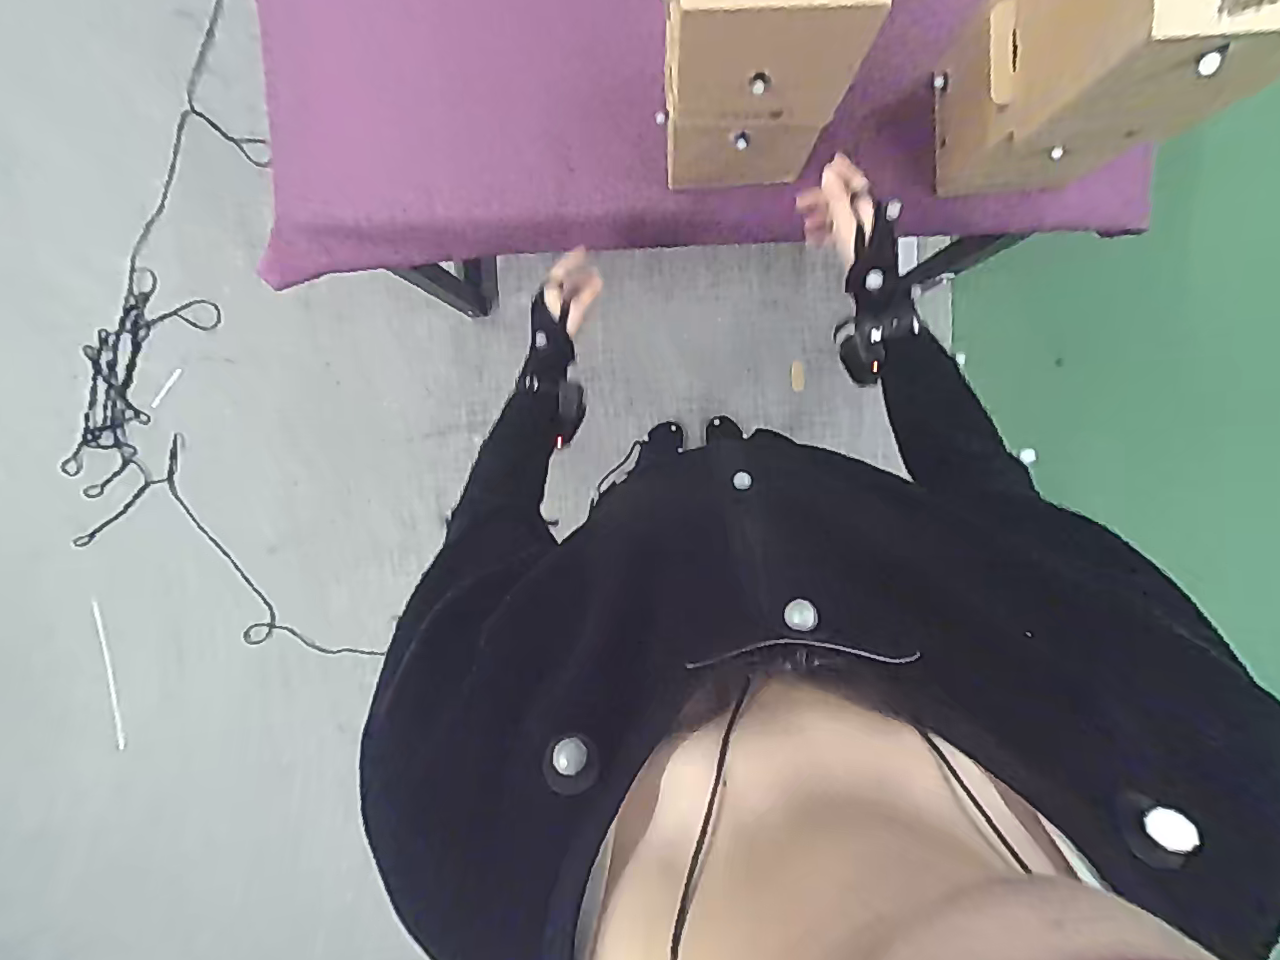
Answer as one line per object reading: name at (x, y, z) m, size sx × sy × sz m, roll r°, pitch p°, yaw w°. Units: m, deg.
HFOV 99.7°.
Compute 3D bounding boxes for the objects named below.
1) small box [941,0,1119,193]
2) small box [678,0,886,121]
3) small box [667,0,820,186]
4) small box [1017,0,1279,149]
small box at (0.482, -0.464, 0.643) m, size 0.179 × 0.176 × 0.168 m, roll -3°, pitch 95°, yaw 3°
small box at (0.121, -0.463, 0.499) m, size 0.168 × 0.176 × 0.179 m, roll 2°, pitch 95°, yaw 3°
small box at (0.123, -0.482, 0.662) m, size 0.179 × 0.176 × 0.168 m, roll -1°, pitch 95°, yaw 3°
small box at (0.471, -0.431, 0.482) m, size 0.168 × 0.176 × 0.179 m, roll -1°, pitch 95°, yaw 4°
